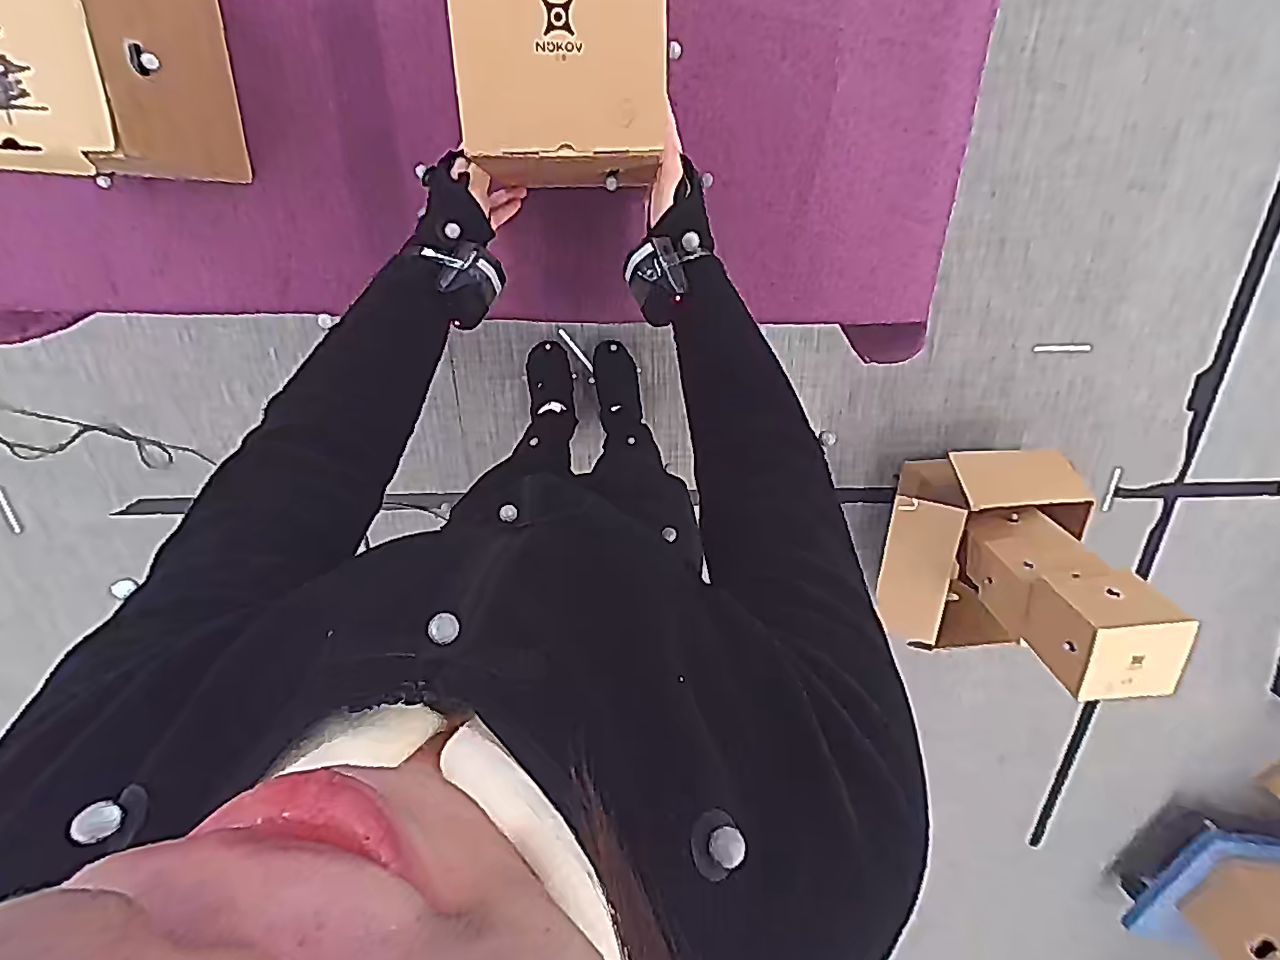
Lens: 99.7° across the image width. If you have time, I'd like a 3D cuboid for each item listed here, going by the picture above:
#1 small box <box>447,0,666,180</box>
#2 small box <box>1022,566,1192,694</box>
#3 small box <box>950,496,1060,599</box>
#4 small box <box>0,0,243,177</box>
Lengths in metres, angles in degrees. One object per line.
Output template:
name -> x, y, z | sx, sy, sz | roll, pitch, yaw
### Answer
small box -> -0.064, -0.375, 0.481 | 0.168, 0.176, 0.179 | -1, 111, -2
small box -> 0.873, 0.278, 1.035 | 0.168, 0.176, 0.179 | -6, 116, 5
small box -> 0.899, 0.158, 1.342 | 0.168, 0.176, 0.179 | -20, 115, 10
small box -> -0.487, -0.372, 0.465 | 0.168, 0.176, 0.179 | 2, 112, -4
